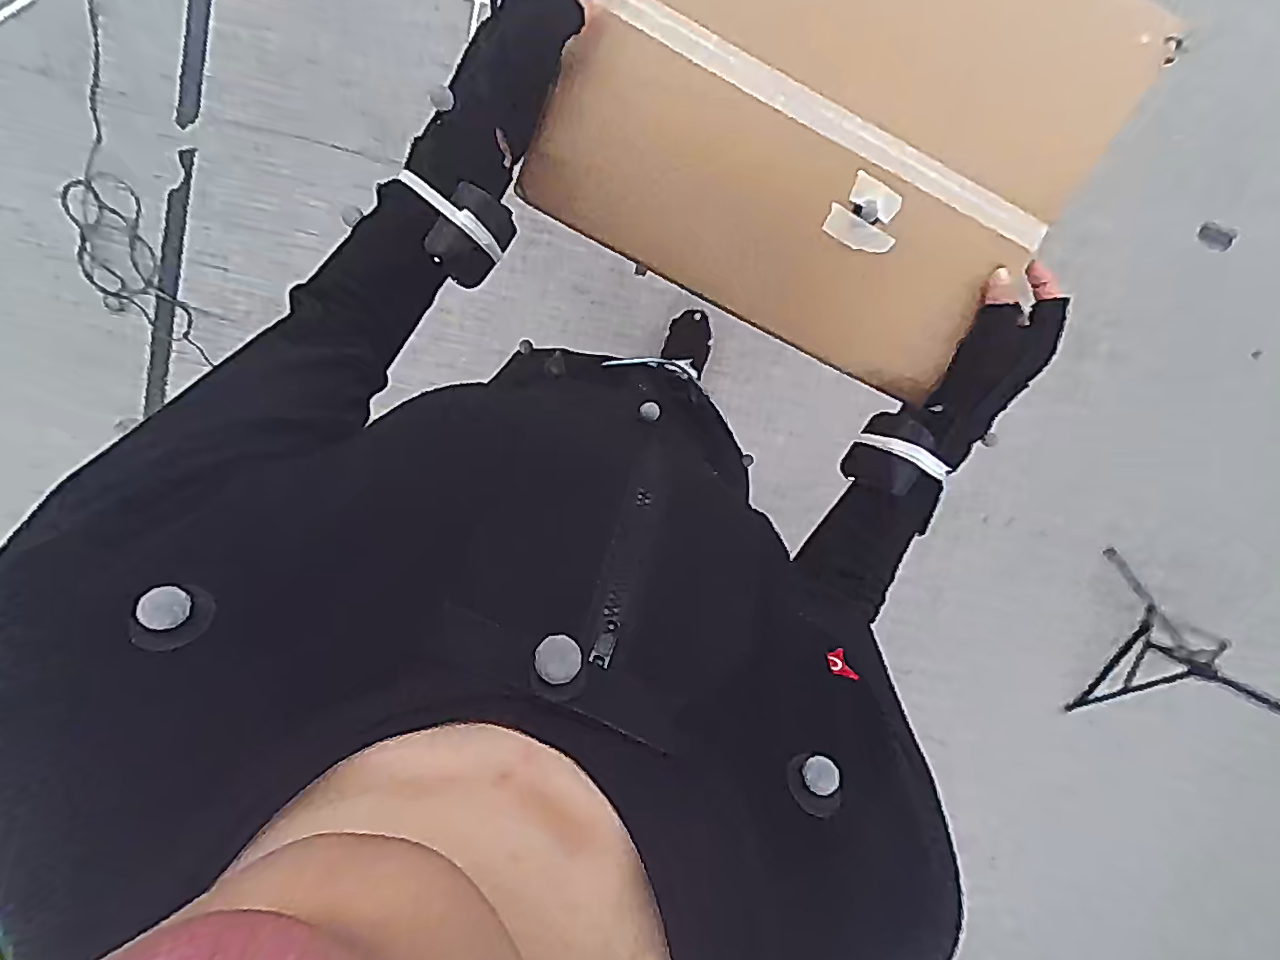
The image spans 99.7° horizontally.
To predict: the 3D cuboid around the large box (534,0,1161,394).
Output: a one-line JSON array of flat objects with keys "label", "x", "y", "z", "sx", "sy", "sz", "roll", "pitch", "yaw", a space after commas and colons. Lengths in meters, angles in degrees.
[{"label": "large box", "x": 0.155, "y": -0.339, "z": 0.572, "sx": 0.408, "sy": 0.320, "sz": 0.320, "roll": 26, "pitch": 110, "yaw": -7}]
